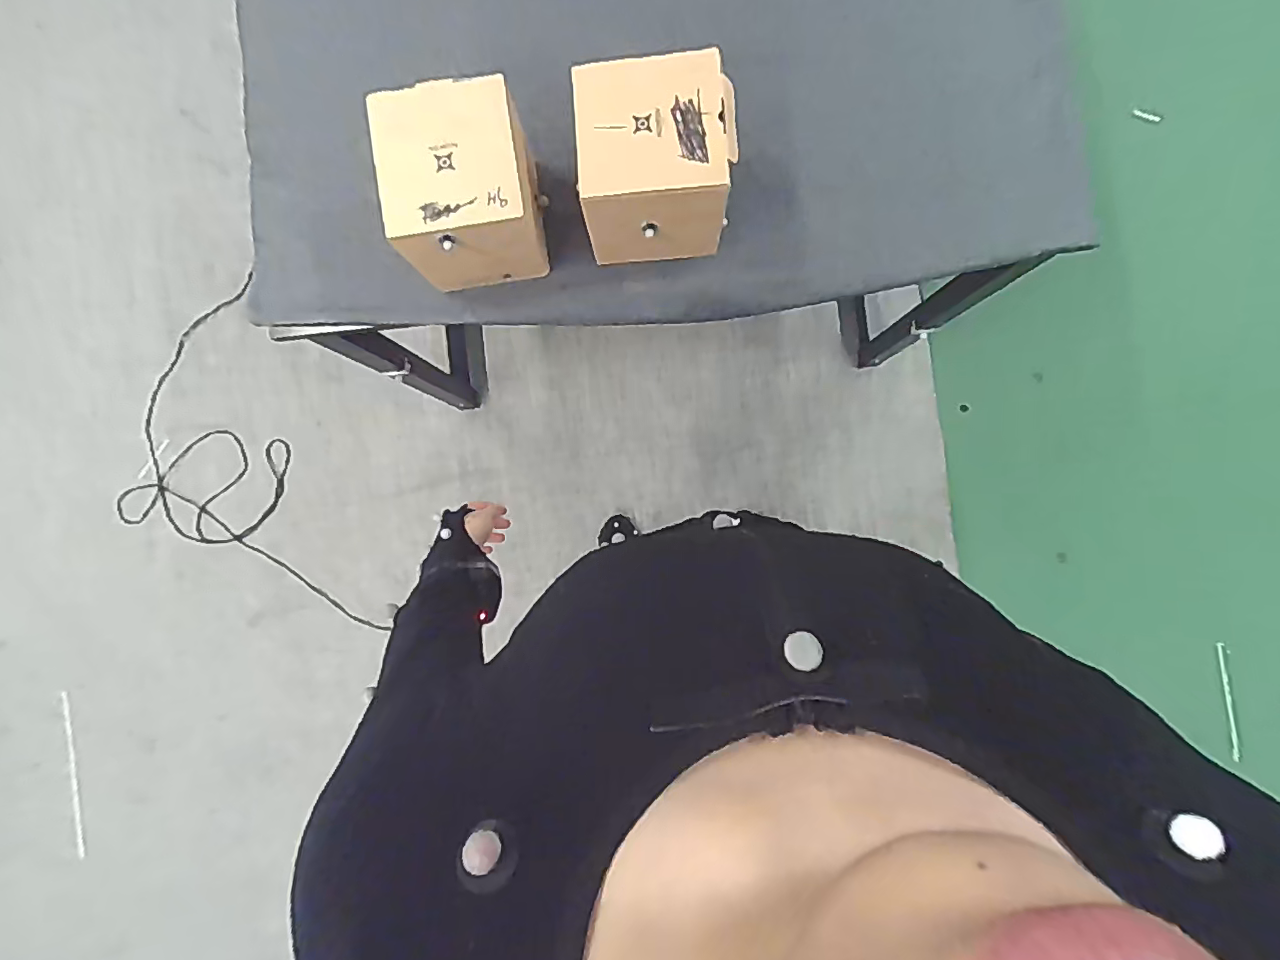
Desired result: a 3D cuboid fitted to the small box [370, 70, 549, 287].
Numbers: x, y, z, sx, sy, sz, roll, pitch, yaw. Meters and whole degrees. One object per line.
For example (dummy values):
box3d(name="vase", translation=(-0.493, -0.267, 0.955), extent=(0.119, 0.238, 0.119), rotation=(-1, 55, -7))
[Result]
box3d(name="small box", translation=(-0.223, -0.378, 0.705), extent=(0.168, 0.176, 0.179), rotation=(-8, 87, 2))
